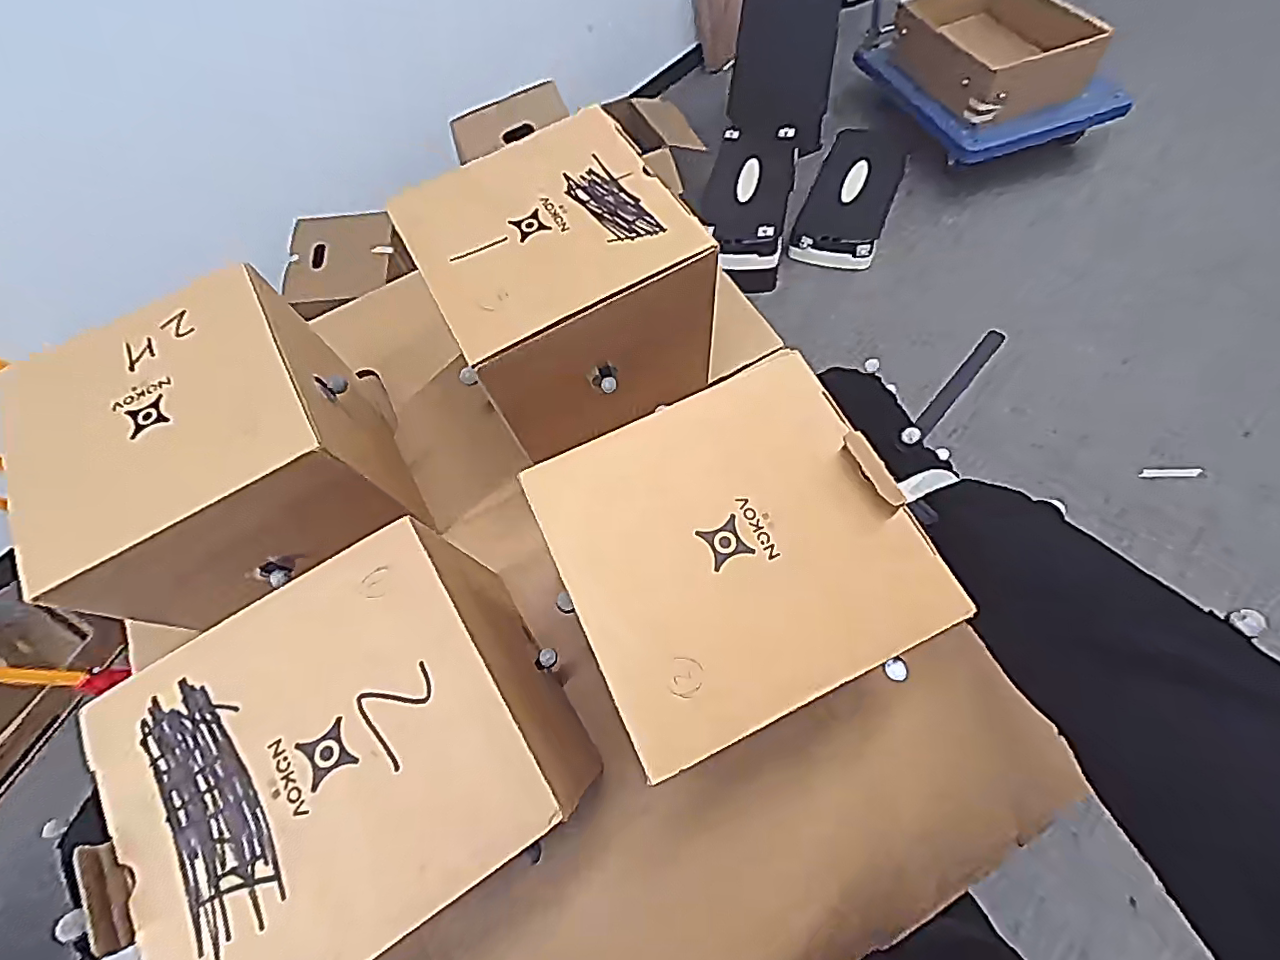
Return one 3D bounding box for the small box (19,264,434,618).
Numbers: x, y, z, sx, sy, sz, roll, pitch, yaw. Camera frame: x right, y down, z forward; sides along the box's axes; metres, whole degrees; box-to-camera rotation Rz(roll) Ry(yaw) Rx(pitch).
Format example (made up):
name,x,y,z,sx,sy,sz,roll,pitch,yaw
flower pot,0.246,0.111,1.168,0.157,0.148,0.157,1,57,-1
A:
name,x,y,z,sx,sy,sz,roll,pitch,yaw
small box,-0.283,-0.013,0.404,0.168,0.176,0.179,-30,68,-8
